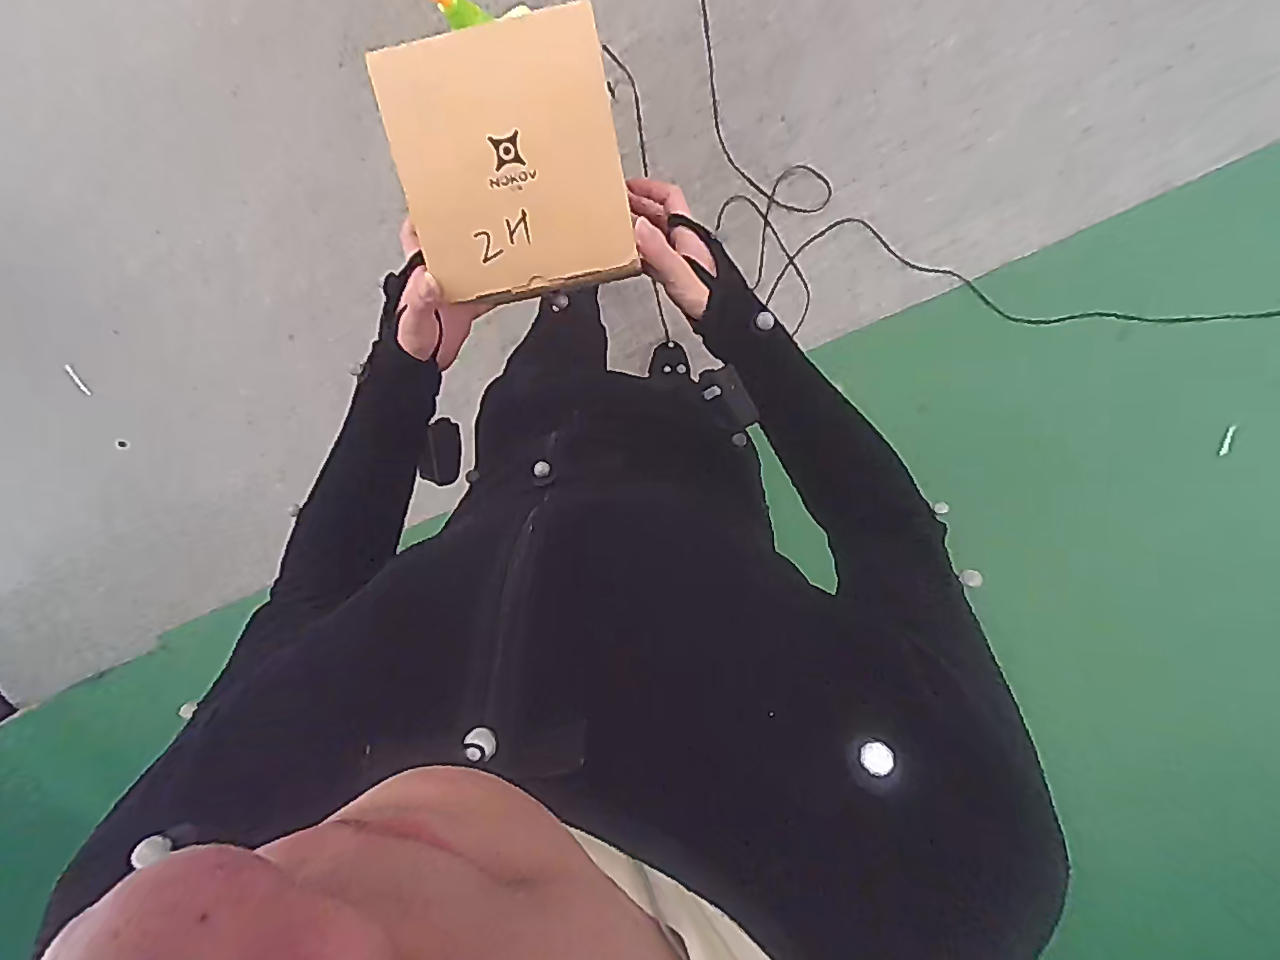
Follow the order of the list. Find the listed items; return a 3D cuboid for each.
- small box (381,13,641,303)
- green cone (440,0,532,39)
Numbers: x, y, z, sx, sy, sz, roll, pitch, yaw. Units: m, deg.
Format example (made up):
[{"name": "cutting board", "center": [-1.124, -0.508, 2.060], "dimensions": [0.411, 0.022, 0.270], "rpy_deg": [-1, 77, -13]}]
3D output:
[{"name": "small box", "center": [-0.094, -0.262, 0.486], "dimensions": [0.168, 0.176, 0.179], "rpy_deg": [-9, 109, 4]}, {"name": "green cone", "center": [-0.340, -0.947, 1.161], "dimensions": [0.202, 0.368, 0.200], "rpy_deg": [-21, 107, 12]}]
